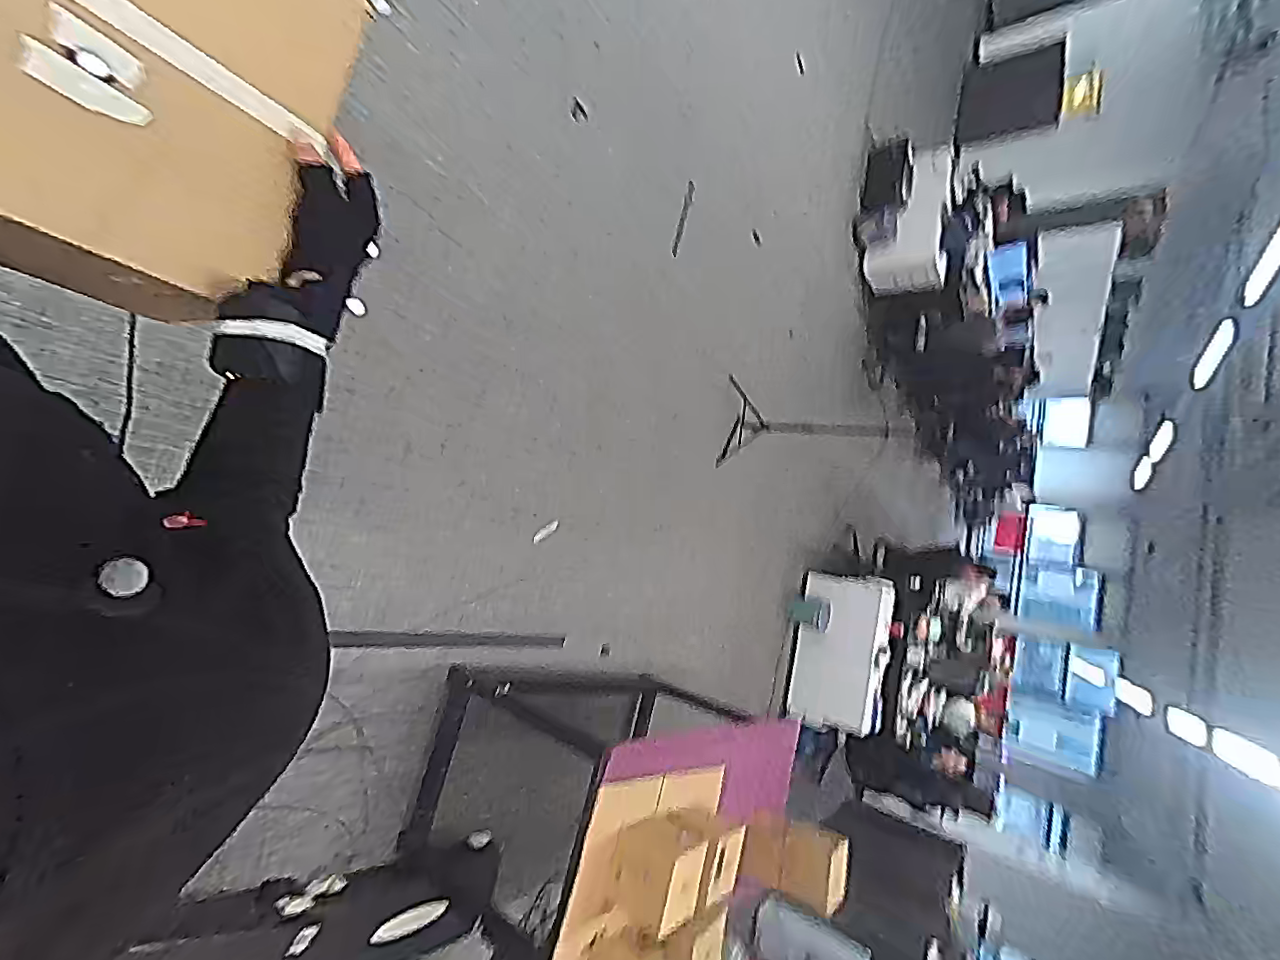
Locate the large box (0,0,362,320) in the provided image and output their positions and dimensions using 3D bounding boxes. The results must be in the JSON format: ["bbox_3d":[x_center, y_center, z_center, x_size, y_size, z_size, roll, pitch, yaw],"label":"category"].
[{"bbox_3d":[-0.519,-0.349,0.409,0.408,0.320,0.320,21,83,-54],"label":"large box"}]
